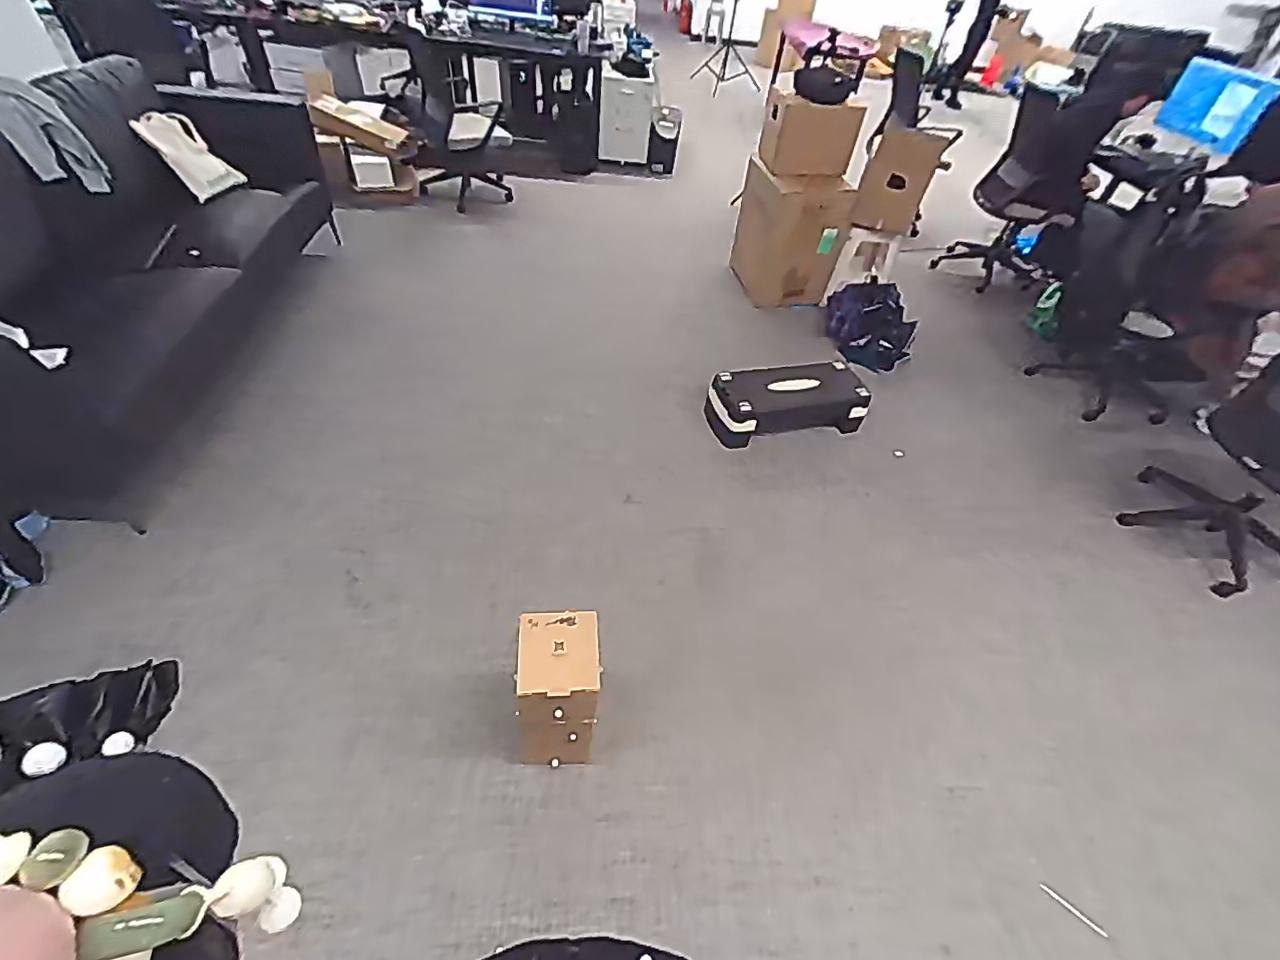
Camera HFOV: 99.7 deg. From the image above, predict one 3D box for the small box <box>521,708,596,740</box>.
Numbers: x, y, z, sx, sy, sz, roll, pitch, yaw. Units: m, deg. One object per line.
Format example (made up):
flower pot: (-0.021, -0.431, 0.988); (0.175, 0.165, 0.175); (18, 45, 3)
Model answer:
small box: (-0.187, 0.506, 1.285); (0.168, 0.176, 0.179); (1, 47, -7)

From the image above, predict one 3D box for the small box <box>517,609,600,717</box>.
small box: (-0.170, 0.398, 1.164); (0.168, 0.176, 0.179); (-1, 49, -8)

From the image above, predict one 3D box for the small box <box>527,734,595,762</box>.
small box: (-0.200, 0.614, 1.404); (0.168, 0.176, 0.179); (1, 48, -5)
